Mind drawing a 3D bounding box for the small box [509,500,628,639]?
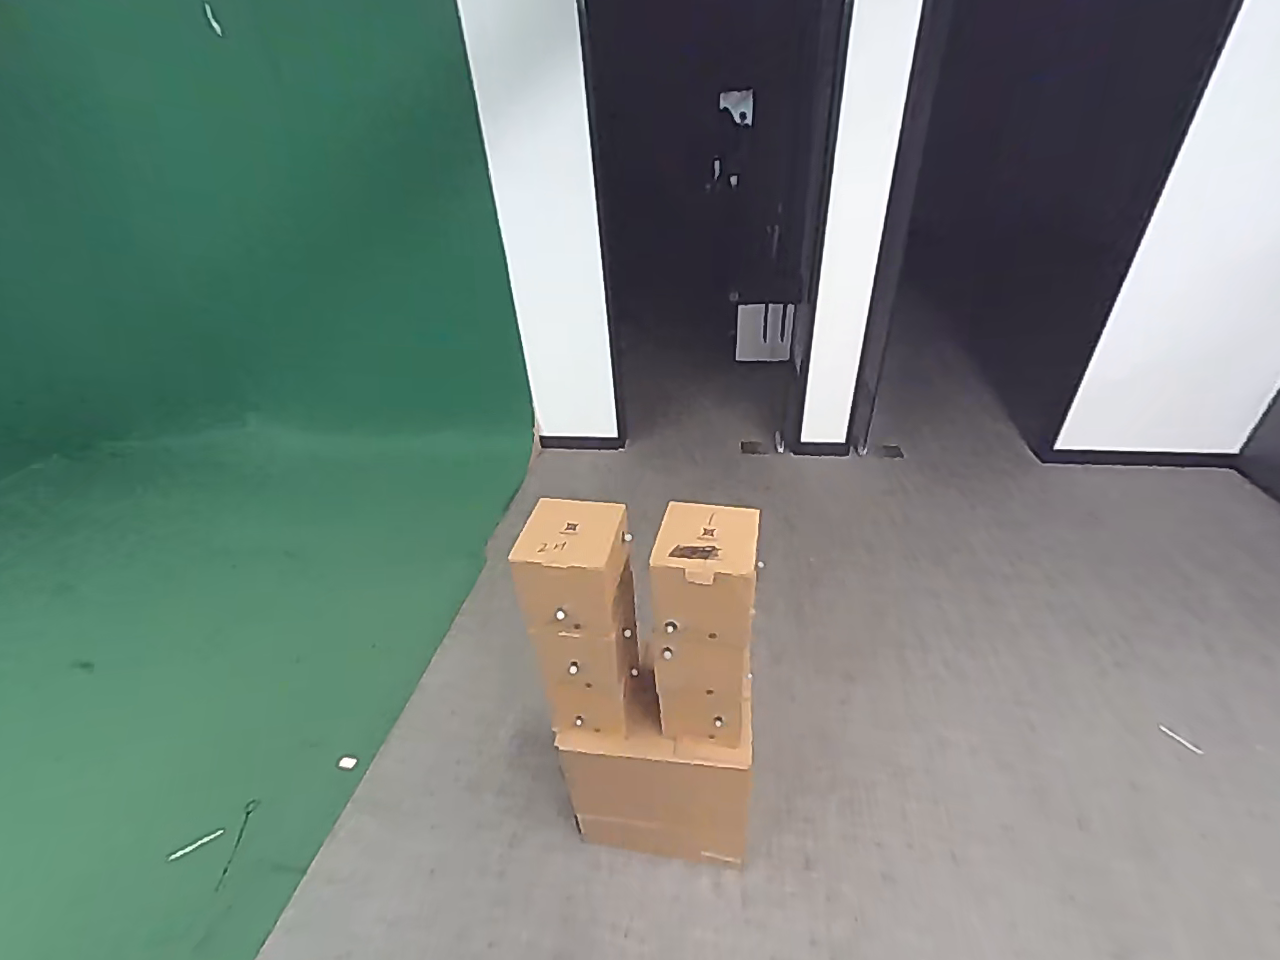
[{"bbox_3d":[-0.119,0.158,0.982,0.168,0.176,0.179,4,36,11],"label":"small box"}]

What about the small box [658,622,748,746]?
[{"bbox_3d":[0.138,0.429,1.140,0.168,0.176,0.179,4,34,13],"label":"small box"}]

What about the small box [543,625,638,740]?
[{"bbox_3d":[-0.097,0.428,1.170,0.168,0.176,0.179,3,36,9],"label":"small box"}]

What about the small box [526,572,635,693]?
[{"bbox_3d":[-0.107,0.296,1.074,0.168,0.176,0.179,4,36,10],"label":"small box"}]
